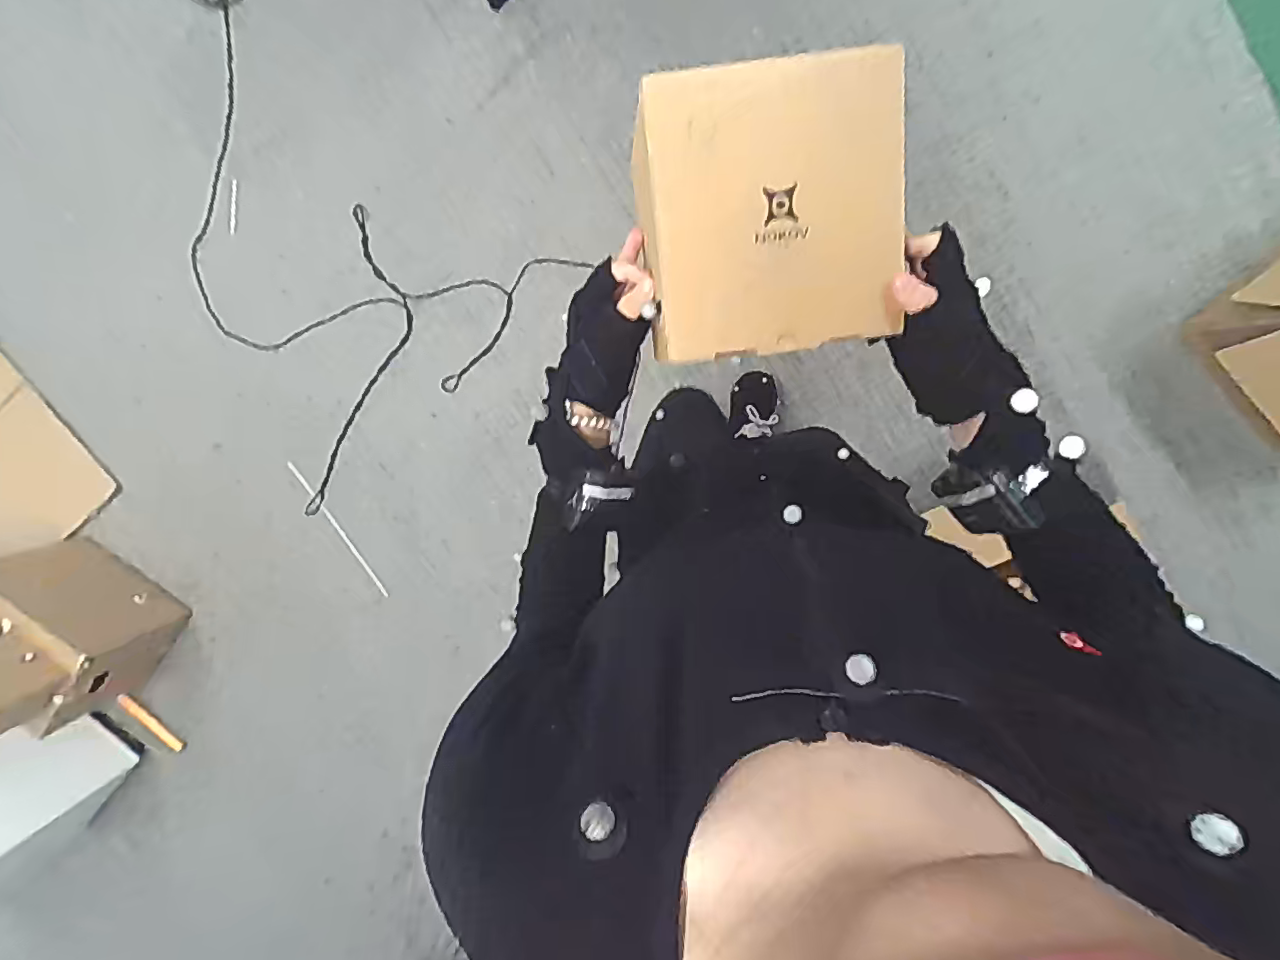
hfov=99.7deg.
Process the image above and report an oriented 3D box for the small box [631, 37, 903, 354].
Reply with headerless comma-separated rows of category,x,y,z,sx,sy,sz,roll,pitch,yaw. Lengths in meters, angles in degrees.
small box,0.086,-0.198,0.430,0.168,0.176,0.179,-8,104,-1
